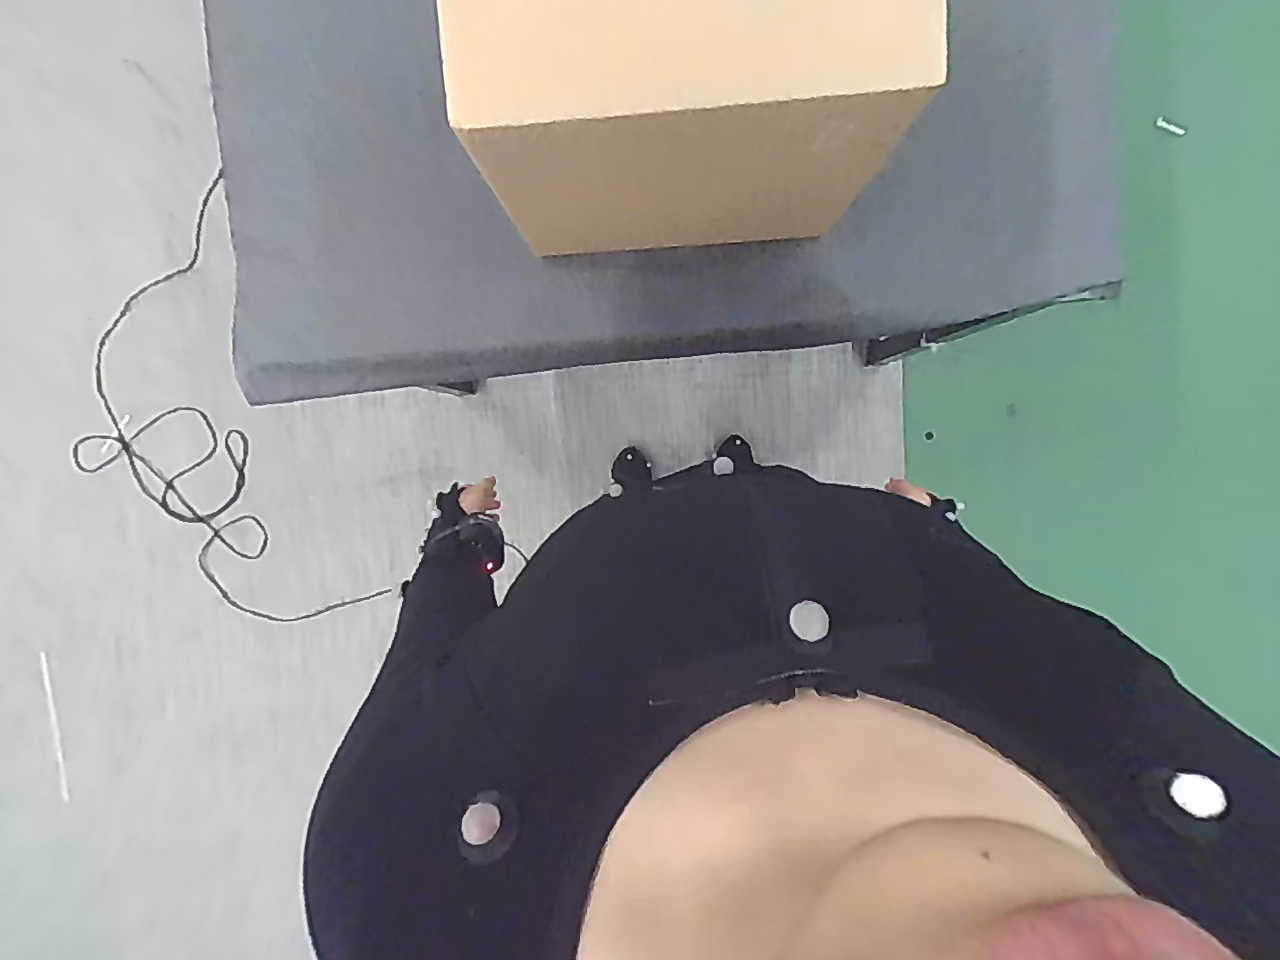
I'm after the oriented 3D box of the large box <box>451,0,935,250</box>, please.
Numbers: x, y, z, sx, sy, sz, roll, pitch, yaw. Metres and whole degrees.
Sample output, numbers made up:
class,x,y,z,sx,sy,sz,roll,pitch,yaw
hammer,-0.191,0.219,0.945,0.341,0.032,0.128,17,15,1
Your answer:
class,x,y,z,sx,sy,sz,roll,pitch,yaw
large box,0.037,-0.475,0.590,0.408,0.320,0.320,-4,95,2
